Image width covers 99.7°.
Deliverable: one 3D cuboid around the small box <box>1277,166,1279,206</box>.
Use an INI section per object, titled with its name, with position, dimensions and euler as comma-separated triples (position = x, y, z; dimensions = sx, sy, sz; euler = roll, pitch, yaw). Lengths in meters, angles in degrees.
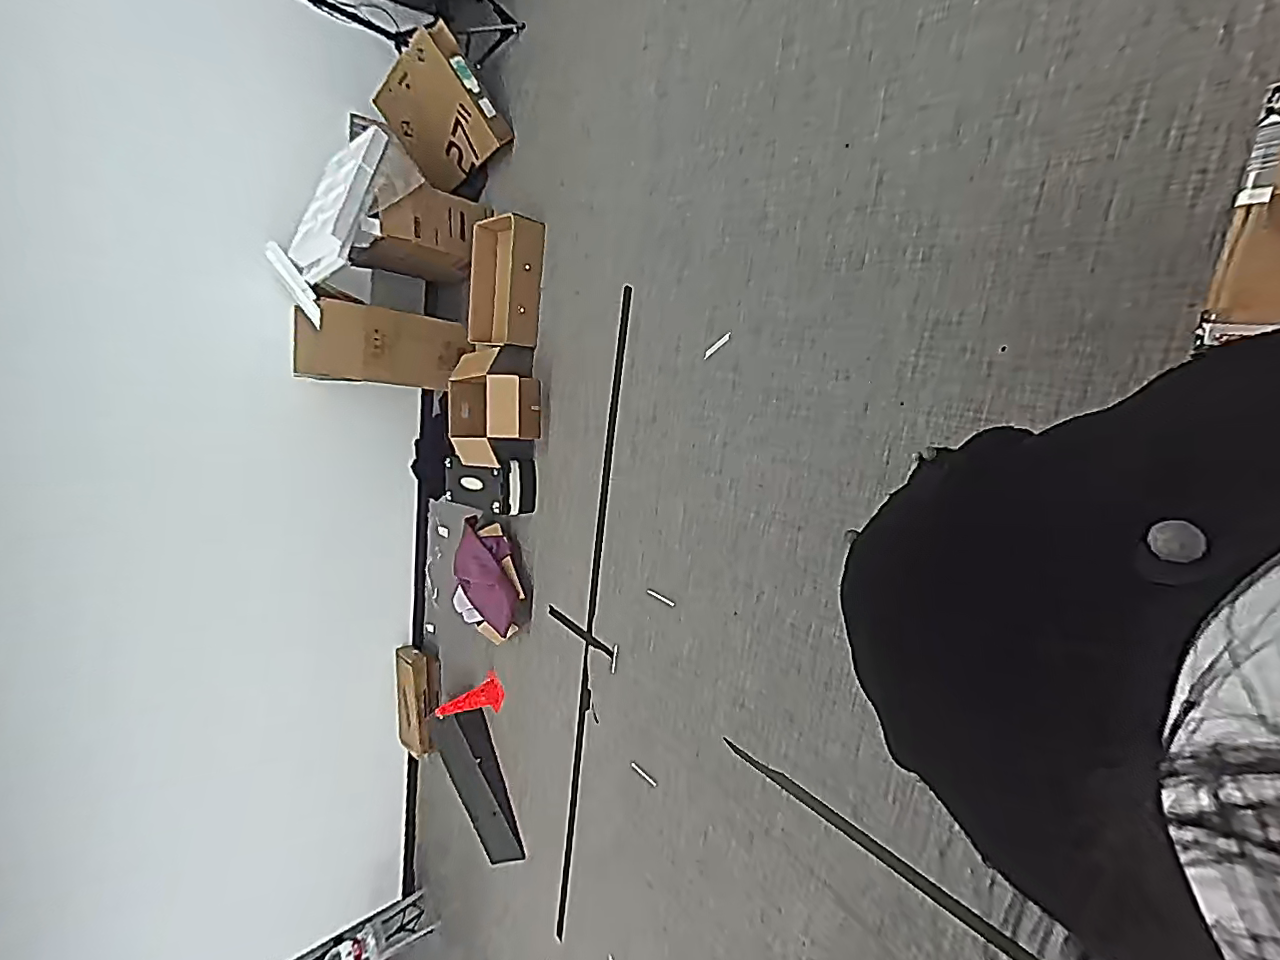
[small box]
position = 0.787, -0.384, 0.543
dimensions = 0.168, 0.176, 0.179
euler = 19, 110, 46
